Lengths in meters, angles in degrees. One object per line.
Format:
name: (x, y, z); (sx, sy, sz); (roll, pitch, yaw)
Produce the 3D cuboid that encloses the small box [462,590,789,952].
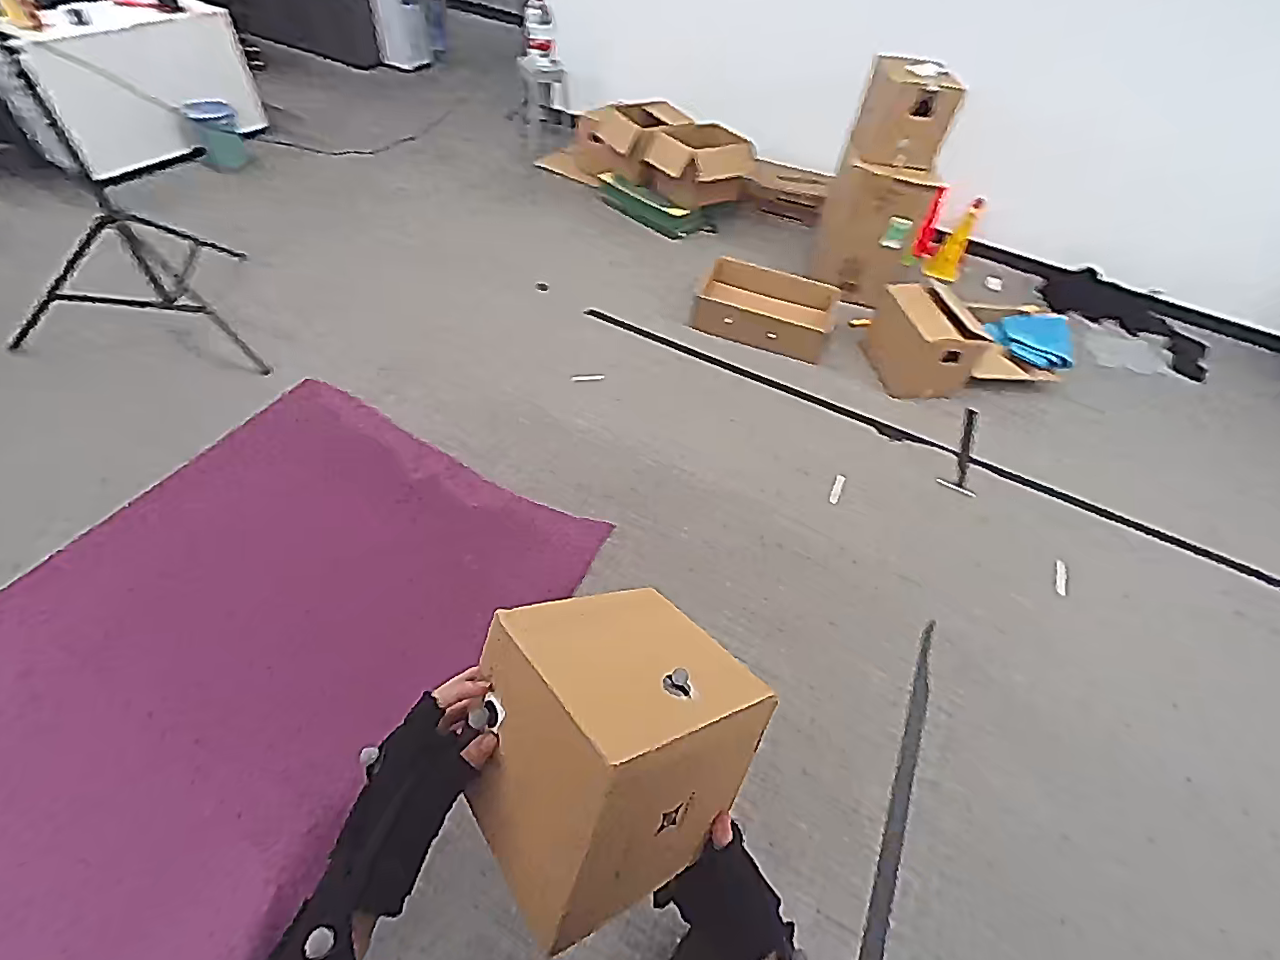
small box: (-0.018, 0.203, 0.440); (0.179, 0.168, 0.176); (3, 19, -41)
